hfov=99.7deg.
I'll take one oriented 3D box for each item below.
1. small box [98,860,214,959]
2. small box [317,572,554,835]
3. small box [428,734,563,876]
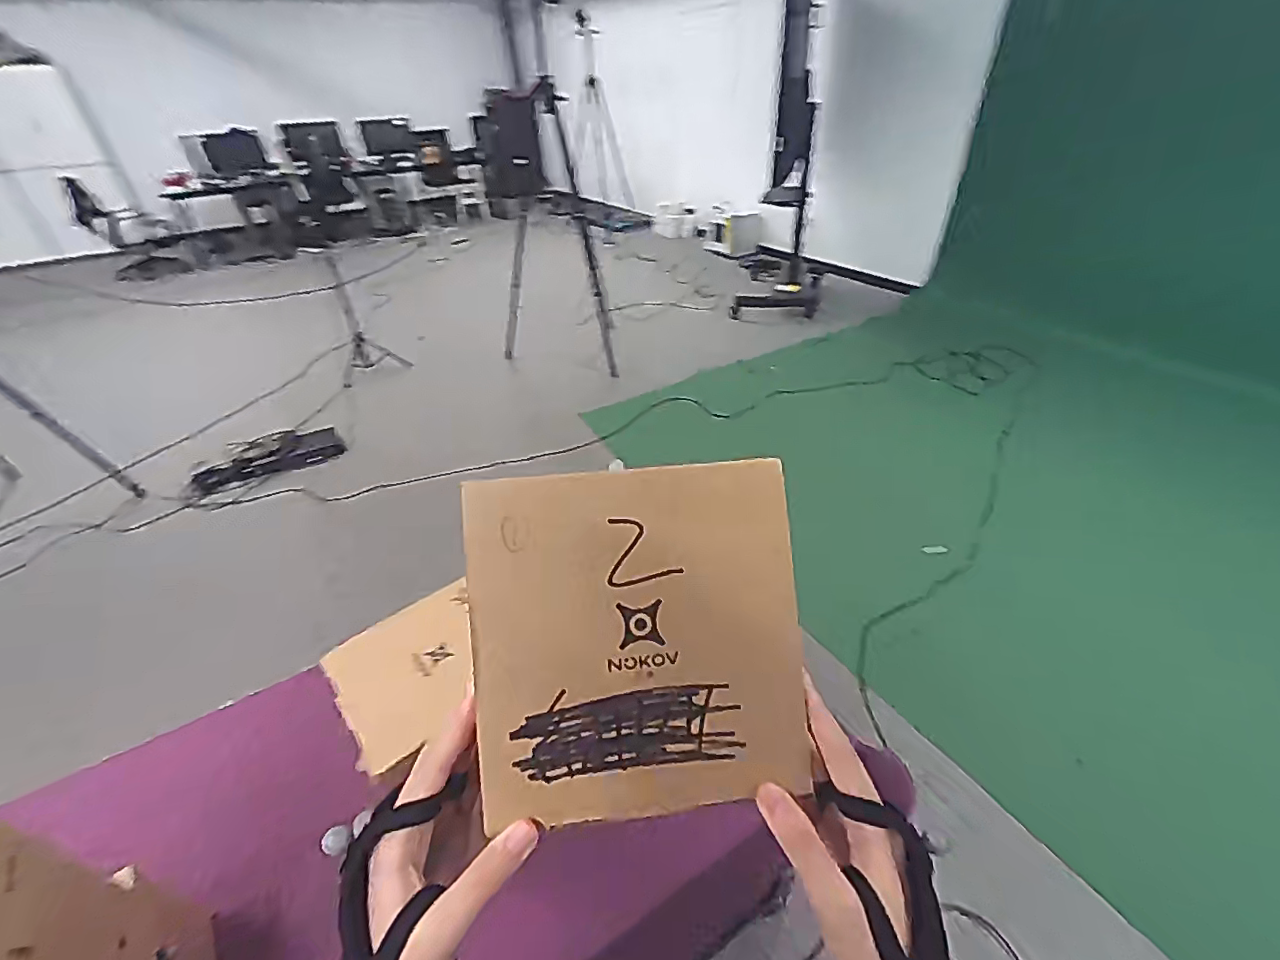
[{"bbox_3d":[-0.542,0.531,0.522,0.168,0.176,0.179,-27,42,-29],"label":"small box"},{"bbox_3d":[-0.216,0.244,0.602,0.179,0.176,0.168,-29,44,-29],"label":"small box"},{"bbox_3d":[-0.223,0.367,0.712,0.168,0.176,0.179,-33,46,-33],"label":"small box"}]
